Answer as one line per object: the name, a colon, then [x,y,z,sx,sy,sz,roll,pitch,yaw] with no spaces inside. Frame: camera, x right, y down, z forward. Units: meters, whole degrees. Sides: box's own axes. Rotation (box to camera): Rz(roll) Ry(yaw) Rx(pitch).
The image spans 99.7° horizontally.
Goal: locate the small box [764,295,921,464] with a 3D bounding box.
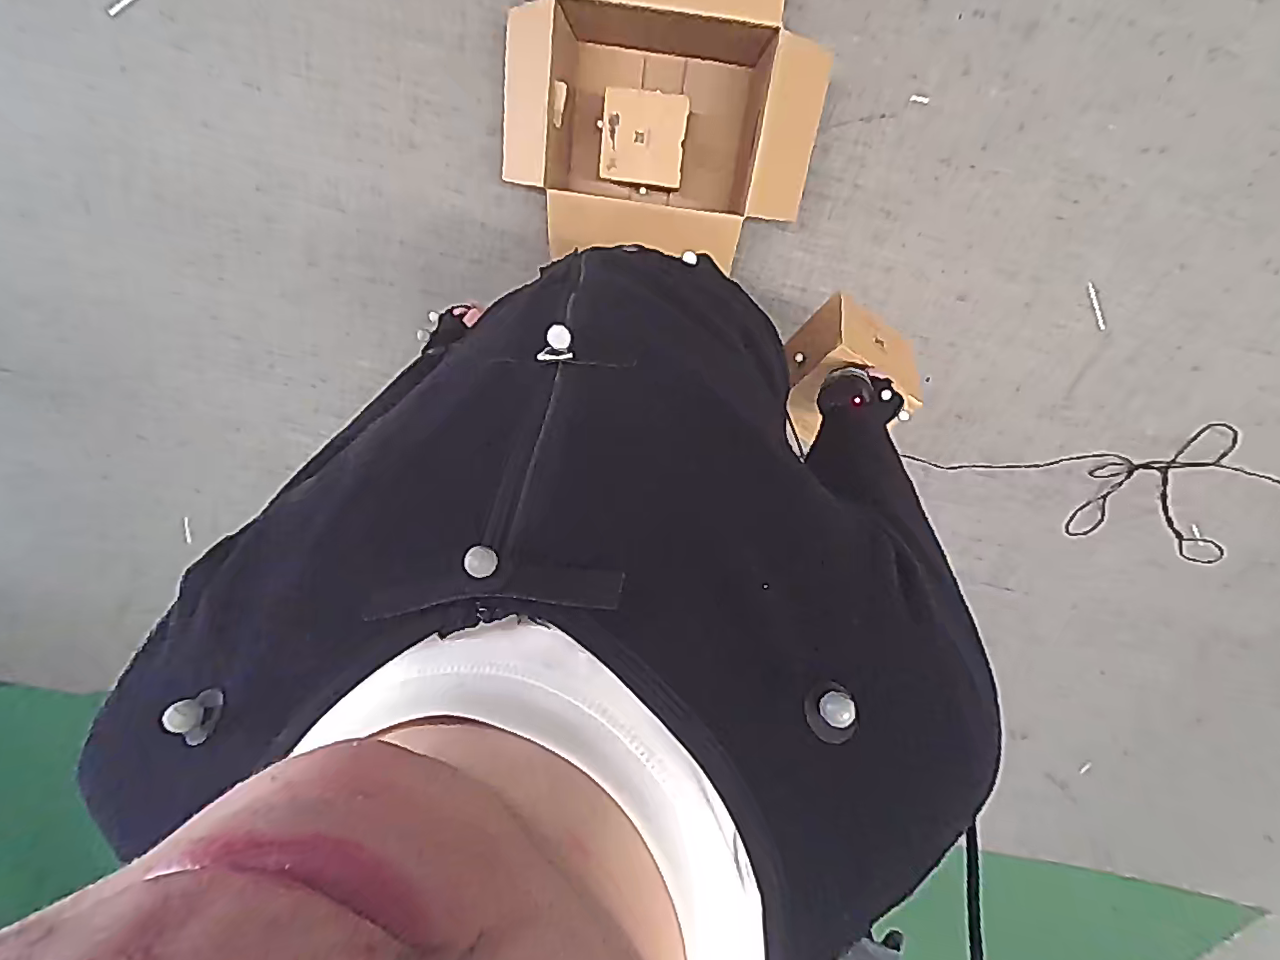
small box: [0.321,-0.159,0.886,0.168,0.179,0.176,32,133,-12]
